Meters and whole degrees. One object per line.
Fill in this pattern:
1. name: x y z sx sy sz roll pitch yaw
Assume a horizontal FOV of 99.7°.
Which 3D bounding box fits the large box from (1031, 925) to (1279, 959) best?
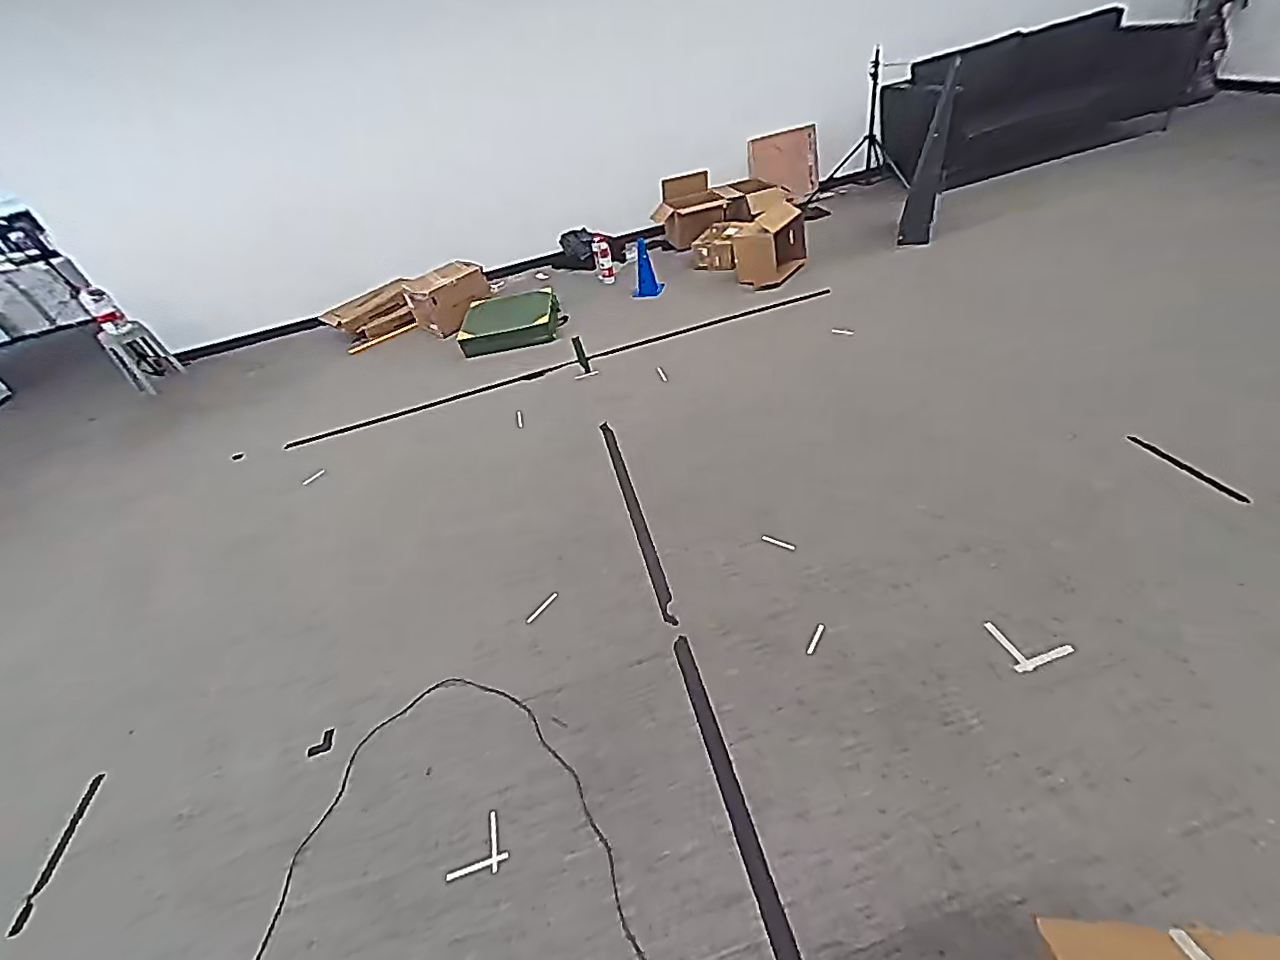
1. large box: 0.625 0.717 0.480 0.320 0.320 0.408 -7 -4 15
